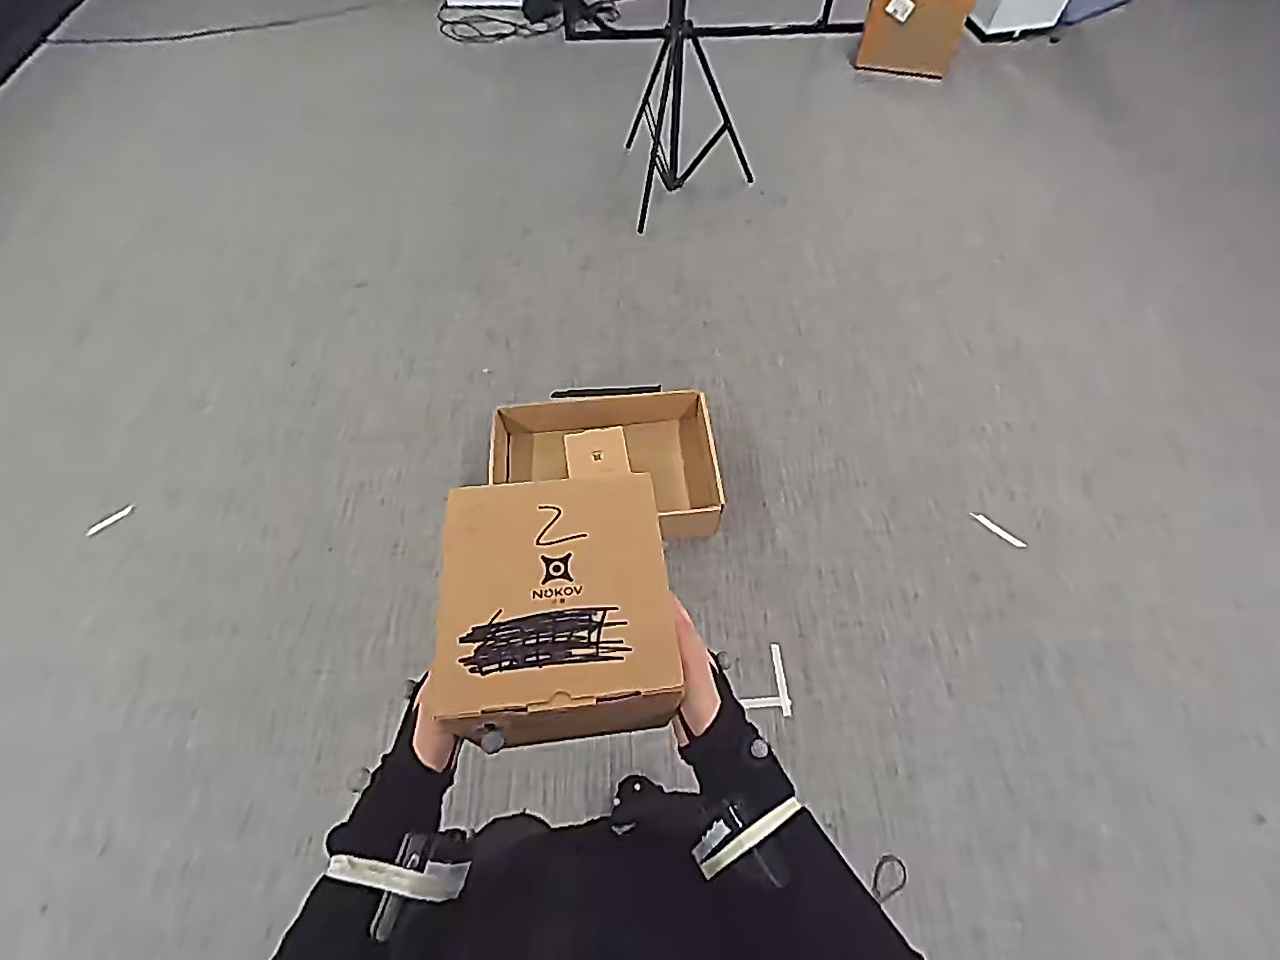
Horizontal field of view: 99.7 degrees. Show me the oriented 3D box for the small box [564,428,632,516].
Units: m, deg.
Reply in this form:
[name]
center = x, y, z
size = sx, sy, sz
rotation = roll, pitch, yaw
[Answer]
[small box]
center = -0.117, -0.019, 1.527
size = 0.168, 0.176, 0.179
rotation = -10, 62, -4
